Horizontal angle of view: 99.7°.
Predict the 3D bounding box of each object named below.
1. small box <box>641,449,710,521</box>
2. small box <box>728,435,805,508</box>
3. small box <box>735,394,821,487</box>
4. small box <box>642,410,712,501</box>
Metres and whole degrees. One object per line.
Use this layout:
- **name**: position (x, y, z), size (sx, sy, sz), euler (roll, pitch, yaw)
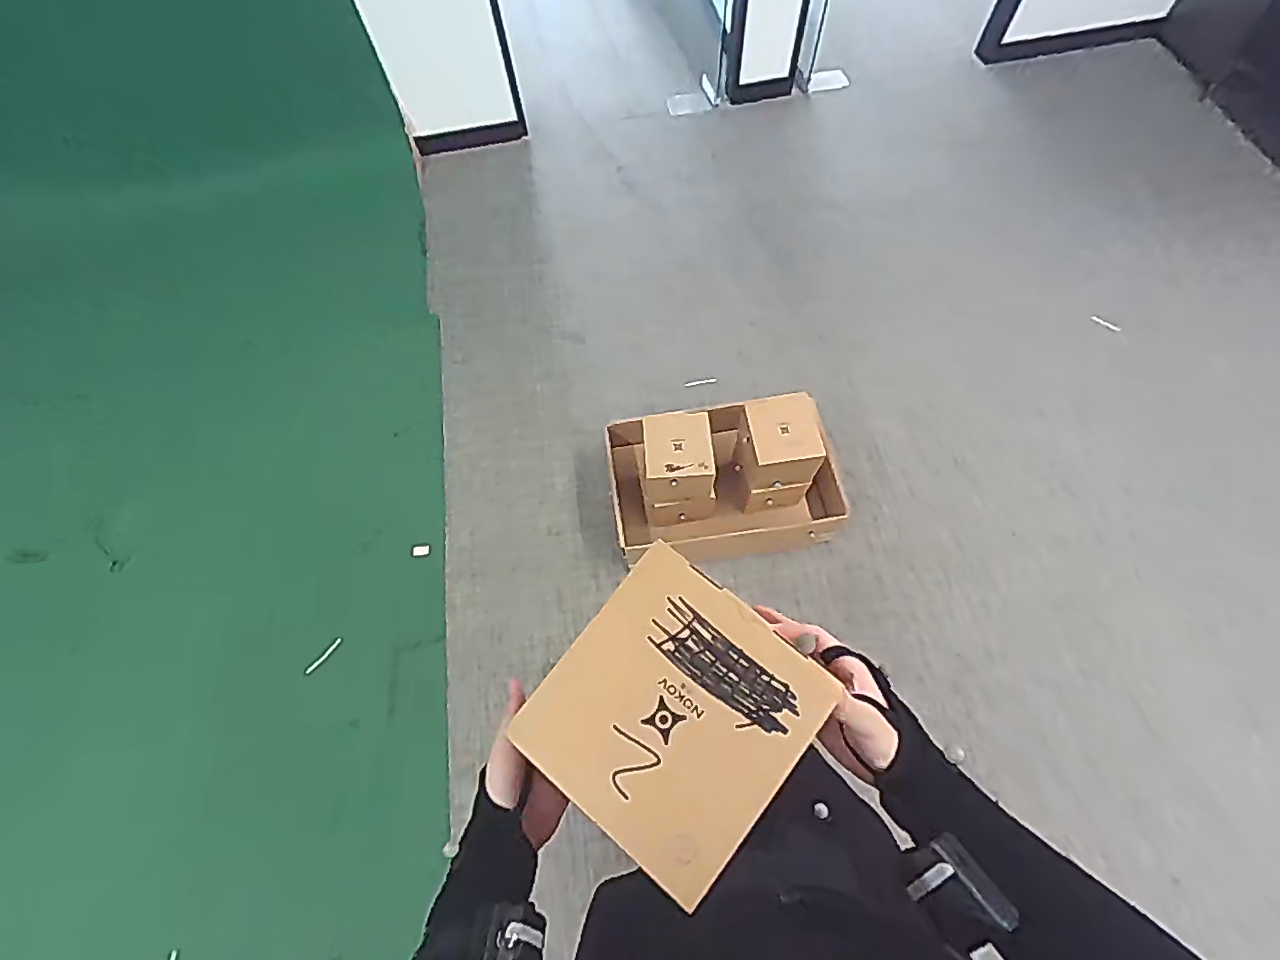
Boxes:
- **small box**: position (0.098, 0.008, 1.543), size (0.168, 0.176, 0.179), euler (-9, 66, -4)
- **small box**: position (0.358, -0.030, 1.554), size (0.168, 0.176, 0.179), euler (-9, 66, -2)
- **small box**: position (0.349, -0.099, 1.406), size (0.168, 0.176, 0.179), euler (-8, 66, 0)
- **small box**: position (0.089, -0.060, 1.393), size (0.168, 0.176, 0.179), euler (-3, 65, 0)
